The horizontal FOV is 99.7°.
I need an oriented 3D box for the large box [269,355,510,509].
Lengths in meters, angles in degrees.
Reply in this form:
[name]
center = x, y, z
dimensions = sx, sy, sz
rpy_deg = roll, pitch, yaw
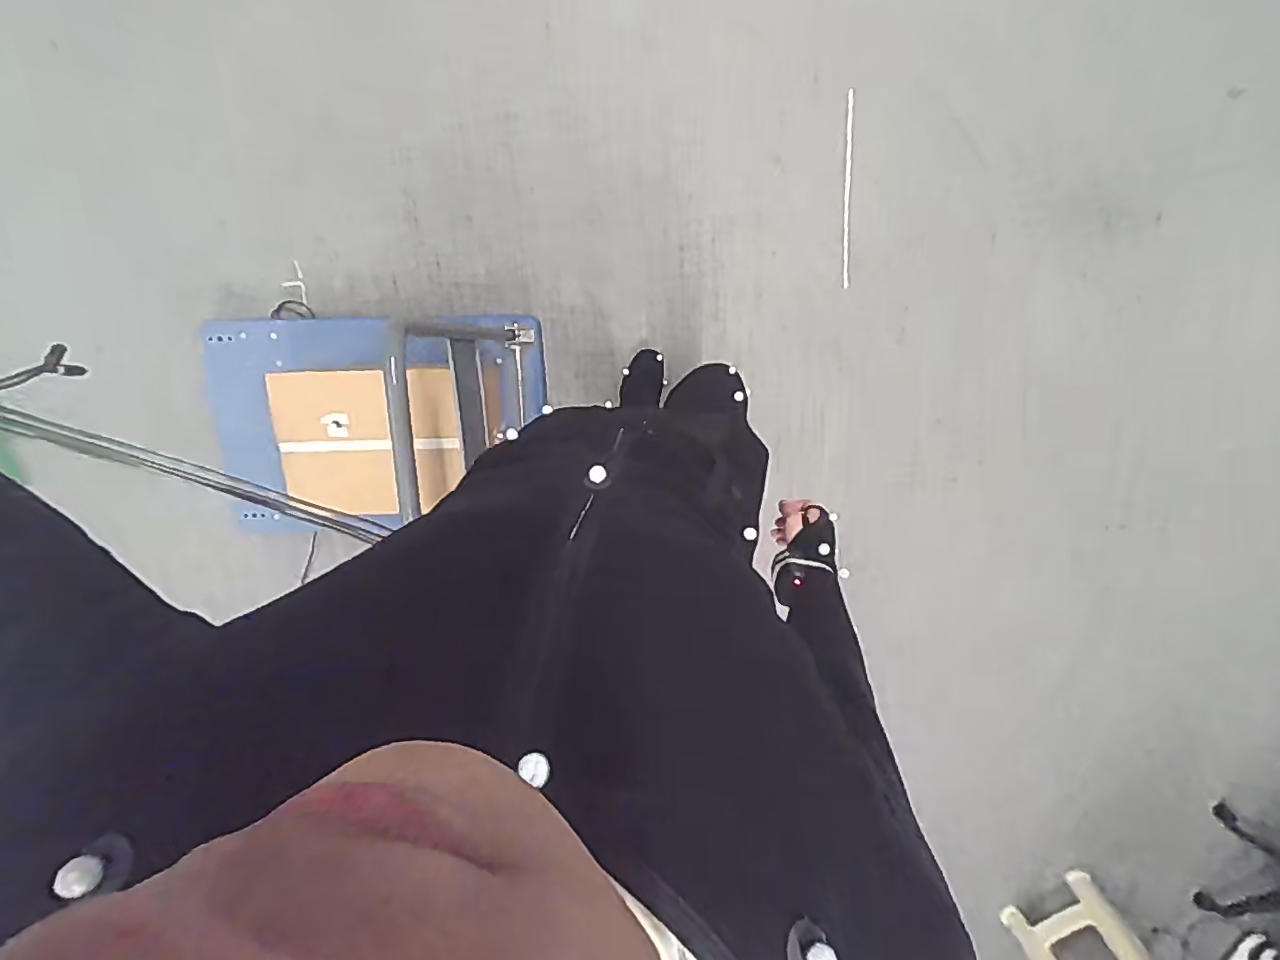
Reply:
[large box]
center = -0.558, -0.126, 1.285
dimensions = 0.408, 0.320, 0.320
rpy_deg = 0, 105, 2
